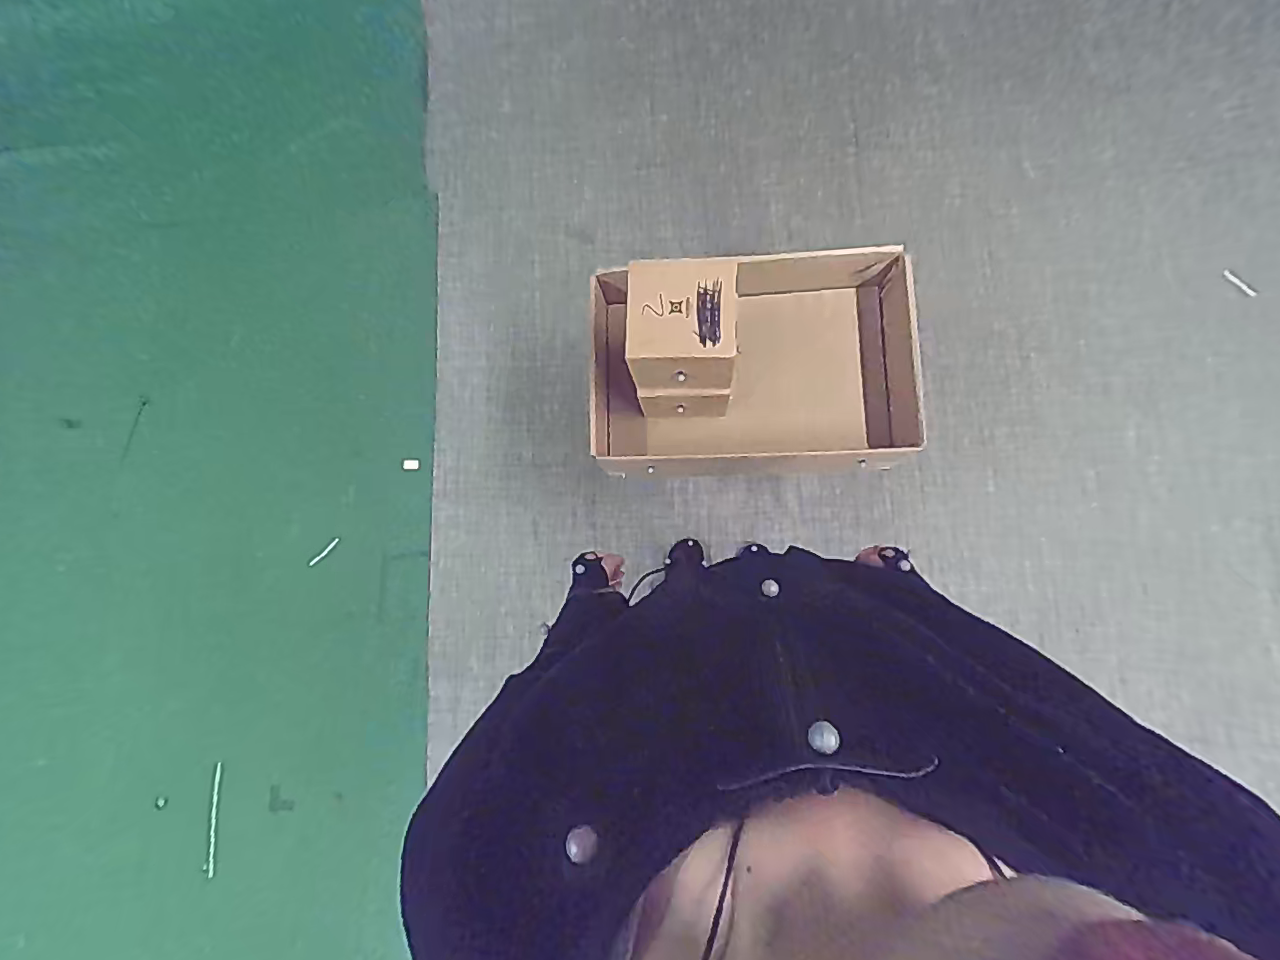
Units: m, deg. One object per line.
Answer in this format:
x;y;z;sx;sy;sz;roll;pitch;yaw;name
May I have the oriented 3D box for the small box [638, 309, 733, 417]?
0.092;-0.226;1.079;0.179;0.176;0.168;-1;82;7;small box
